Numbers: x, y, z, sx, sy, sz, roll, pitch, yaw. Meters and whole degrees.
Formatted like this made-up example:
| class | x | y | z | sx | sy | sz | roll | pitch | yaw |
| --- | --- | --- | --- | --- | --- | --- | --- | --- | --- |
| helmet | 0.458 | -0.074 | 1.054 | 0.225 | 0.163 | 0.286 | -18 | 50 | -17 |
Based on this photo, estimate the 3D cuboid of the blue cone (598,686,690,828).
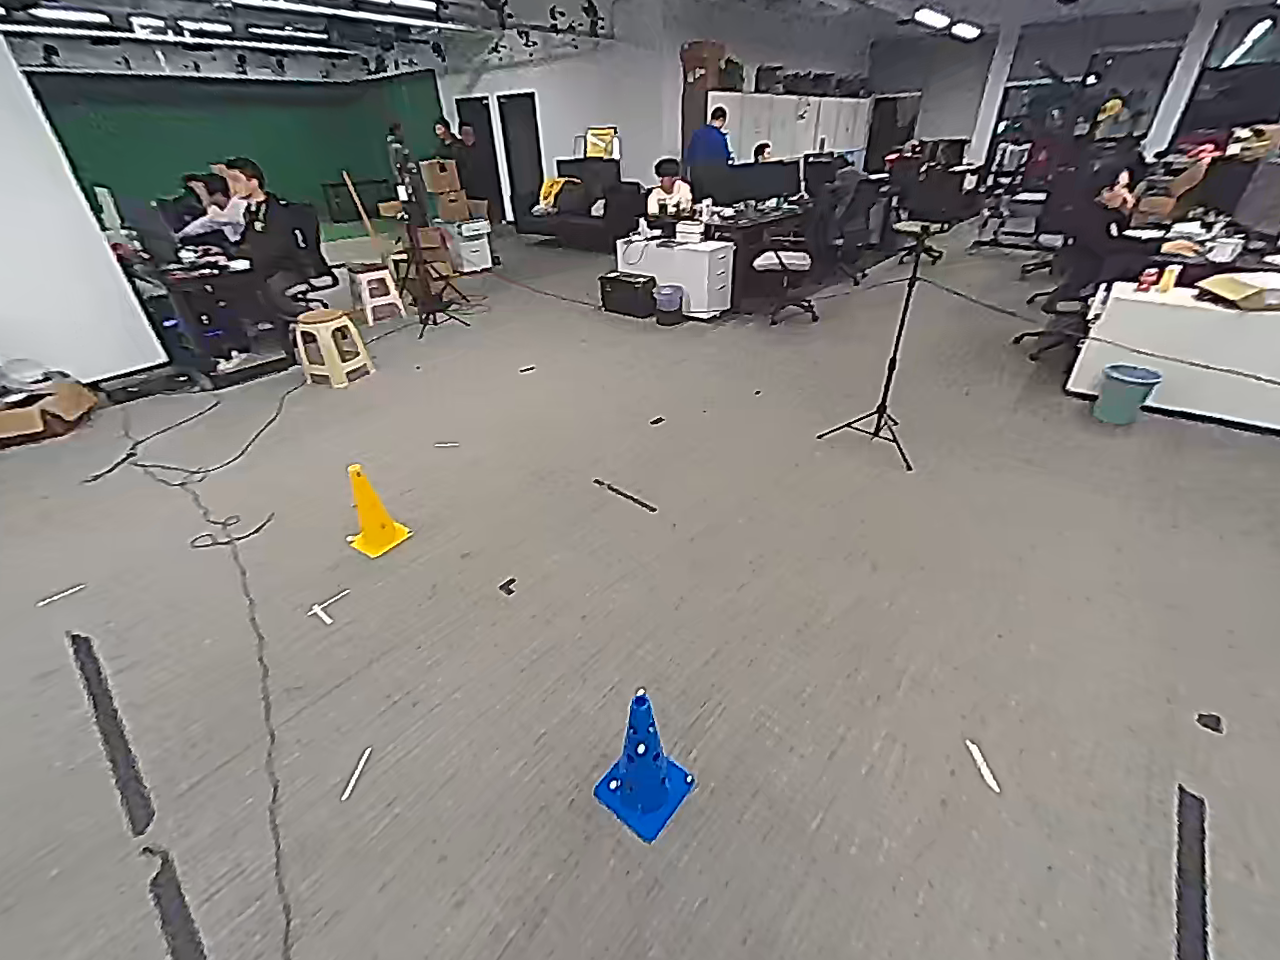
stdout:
| class | x | y | z | sx | sy | sz | roll | pitch | yaw |
| --- | --- | --- | --- | --- | --- | --- | --- | --- | --- |
| blue cone | 0.006 | 0.643 | 1.315 | 0.193 | 0.380 | 0.192 | 24 | 40 | 35 |
